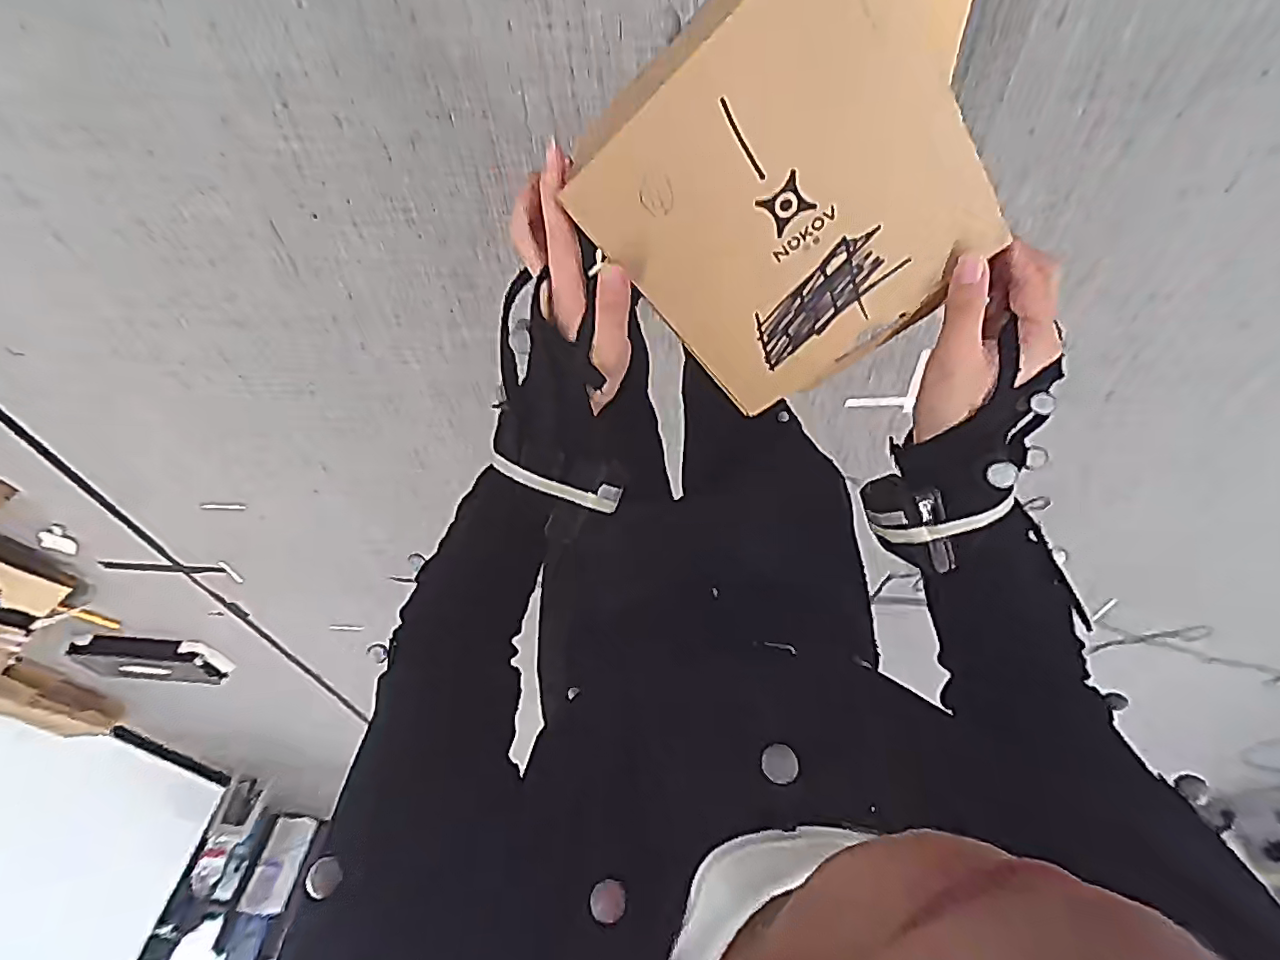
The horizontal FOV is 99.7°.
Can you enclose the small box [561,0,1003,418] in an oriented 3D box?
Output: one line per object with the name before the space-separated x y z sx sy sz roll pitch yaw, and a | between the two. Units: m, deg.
small box | 0.075 -0.179 0.336 0.168 0.176 0.179 -34 123 24
